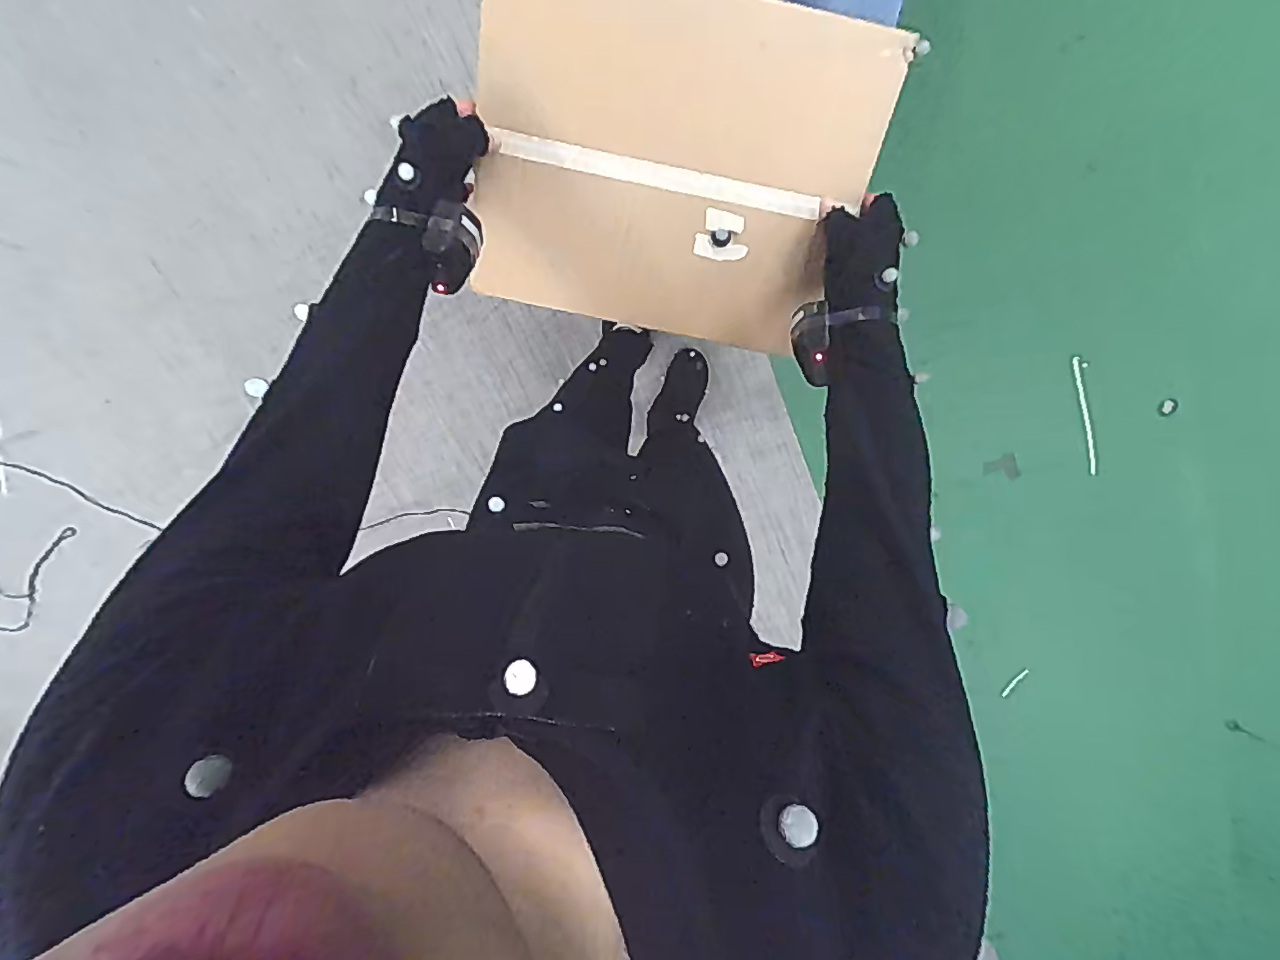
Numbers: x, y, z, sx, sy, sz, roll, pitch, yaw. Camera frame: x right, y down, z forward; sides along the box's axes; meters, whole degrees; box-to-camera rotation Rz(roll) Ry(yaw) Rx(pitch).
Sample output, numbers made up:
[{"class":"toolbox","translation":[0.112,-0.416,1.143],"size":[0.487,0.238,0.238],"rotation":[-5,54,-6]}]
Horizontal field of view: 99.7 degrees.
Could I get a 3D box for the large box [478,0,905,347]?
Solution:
[{"class":"large box","translation":[0.034,-0.388,0.700],"size":[0.408,0.320,0.320],"rotation":[10,117,-4]}]
